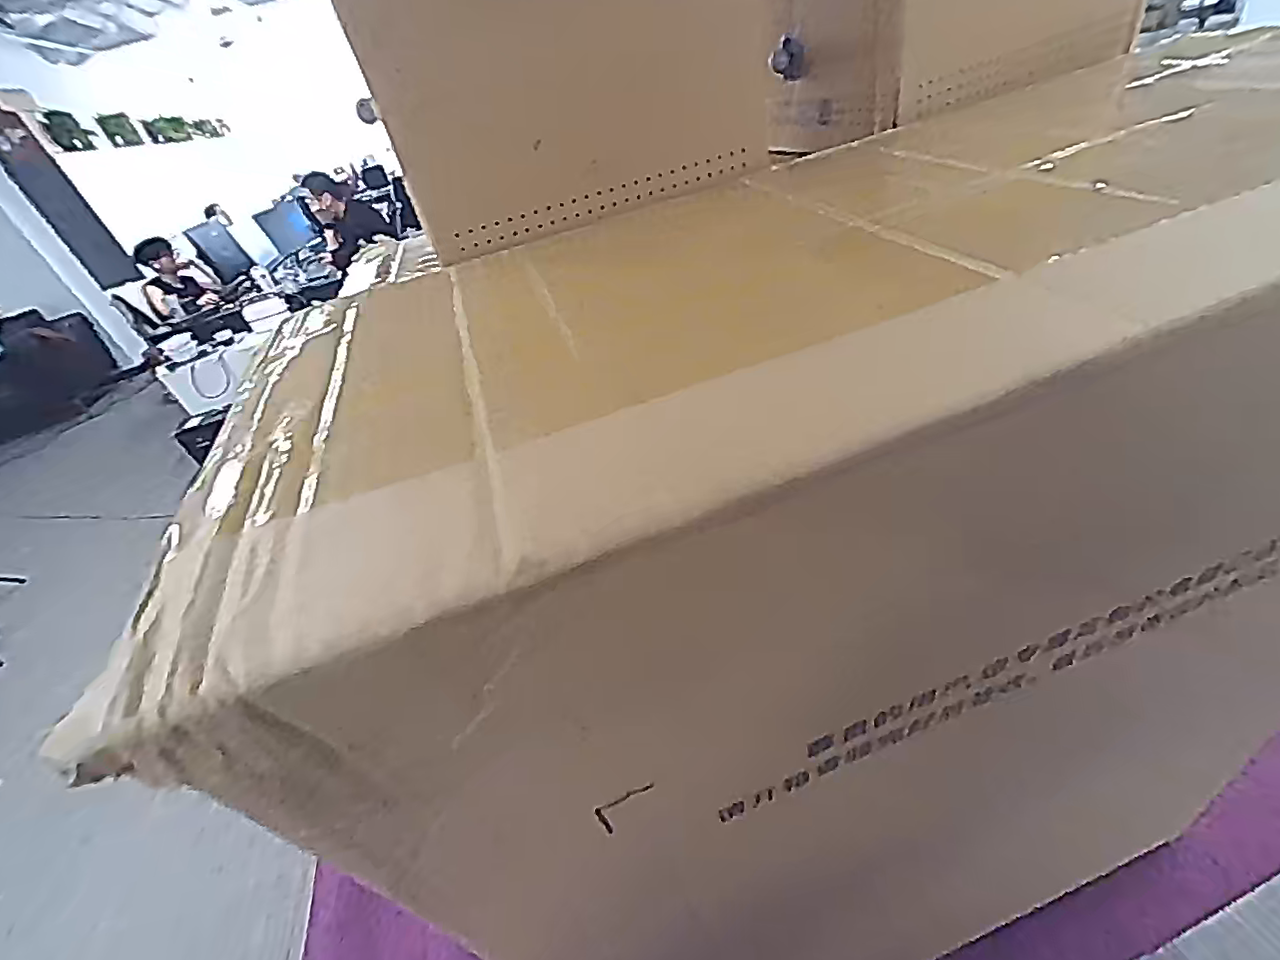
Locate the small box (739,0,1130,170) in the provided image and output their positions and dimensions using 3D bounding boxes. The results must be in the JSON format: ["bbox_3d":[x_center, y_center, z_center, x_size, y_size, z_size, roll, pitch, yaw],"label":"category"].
[{"bbox_3d":[0.169,-0.312,0.330,0.179,0.176,0.168,-25,38,-9],"label":"small box"}]
